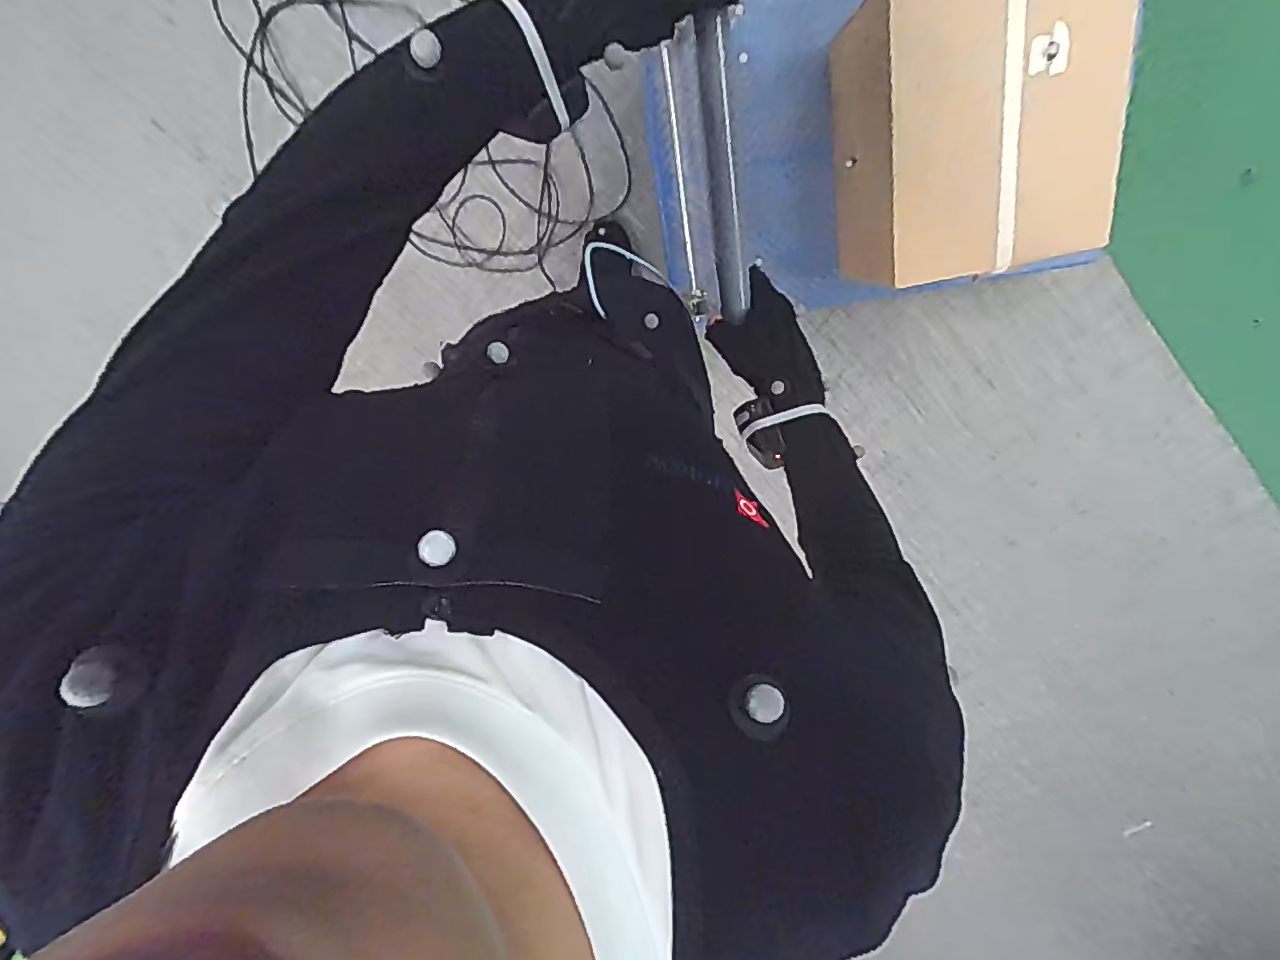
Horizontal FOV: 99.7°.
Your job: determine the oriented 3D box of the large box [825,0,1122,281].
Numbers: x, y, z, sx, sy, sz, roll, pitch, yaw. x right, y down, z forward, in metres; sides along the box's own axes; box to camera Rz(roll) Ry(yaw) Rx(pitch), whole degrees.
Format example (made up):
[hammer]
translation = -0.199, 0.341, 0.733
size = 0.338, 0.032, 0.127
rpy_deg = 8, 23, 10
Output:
[large box]
translation = 0.513, -0.579, 0.902
size = 0.320, 0.320, 0.408
rpy_deg = -10, 112, 6
